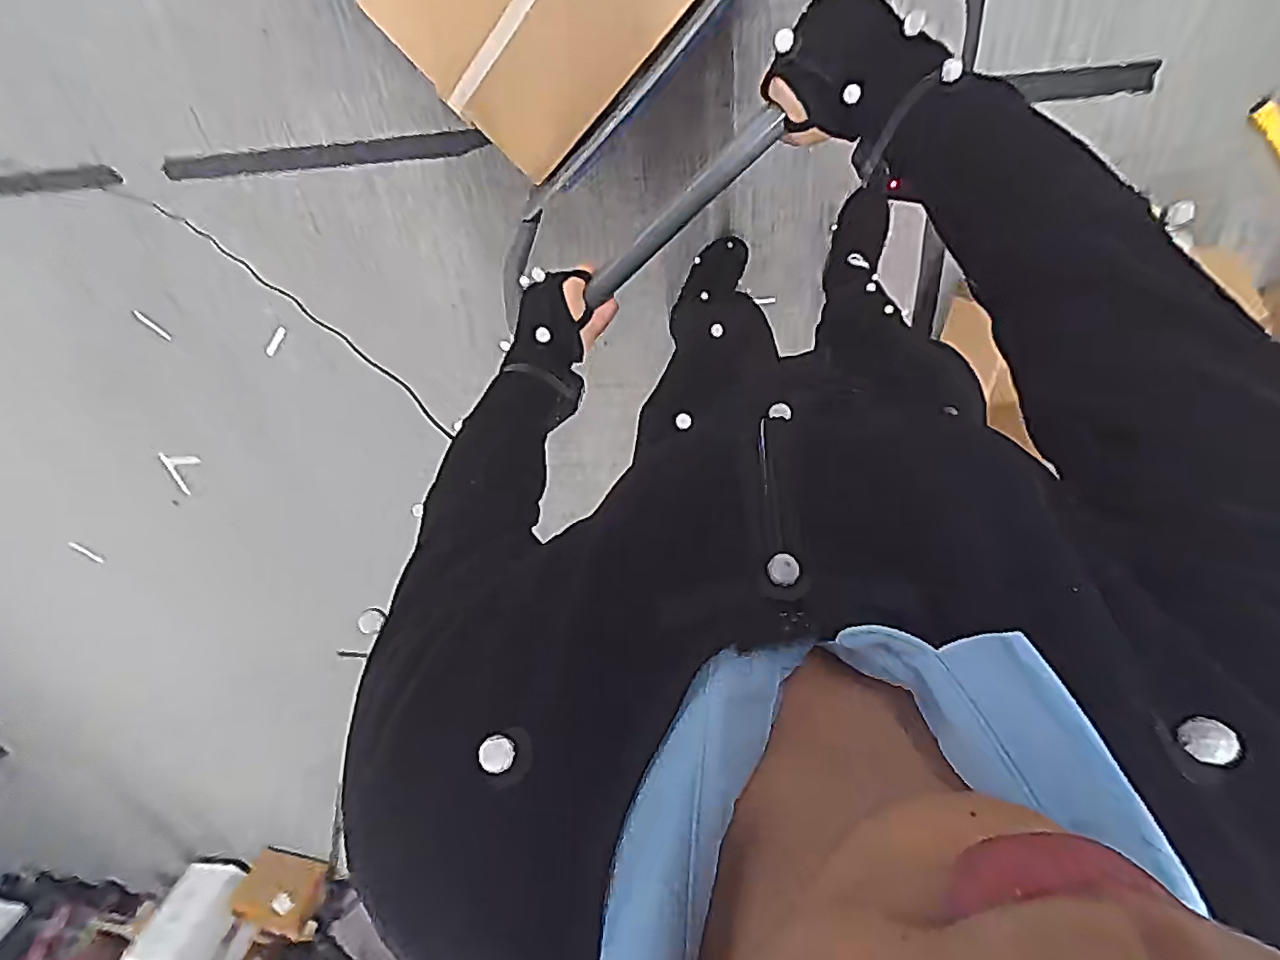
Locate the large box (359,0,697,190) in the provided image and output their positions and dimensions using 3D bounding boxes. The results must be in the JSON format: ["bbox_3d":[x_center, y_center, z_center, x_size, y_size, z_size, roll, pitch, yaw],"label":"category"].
[{"bbox_3d":[-0.121,-0.730,0.789,0.408,0.320,0.320,-35,123,29],"label":"large box"}]
